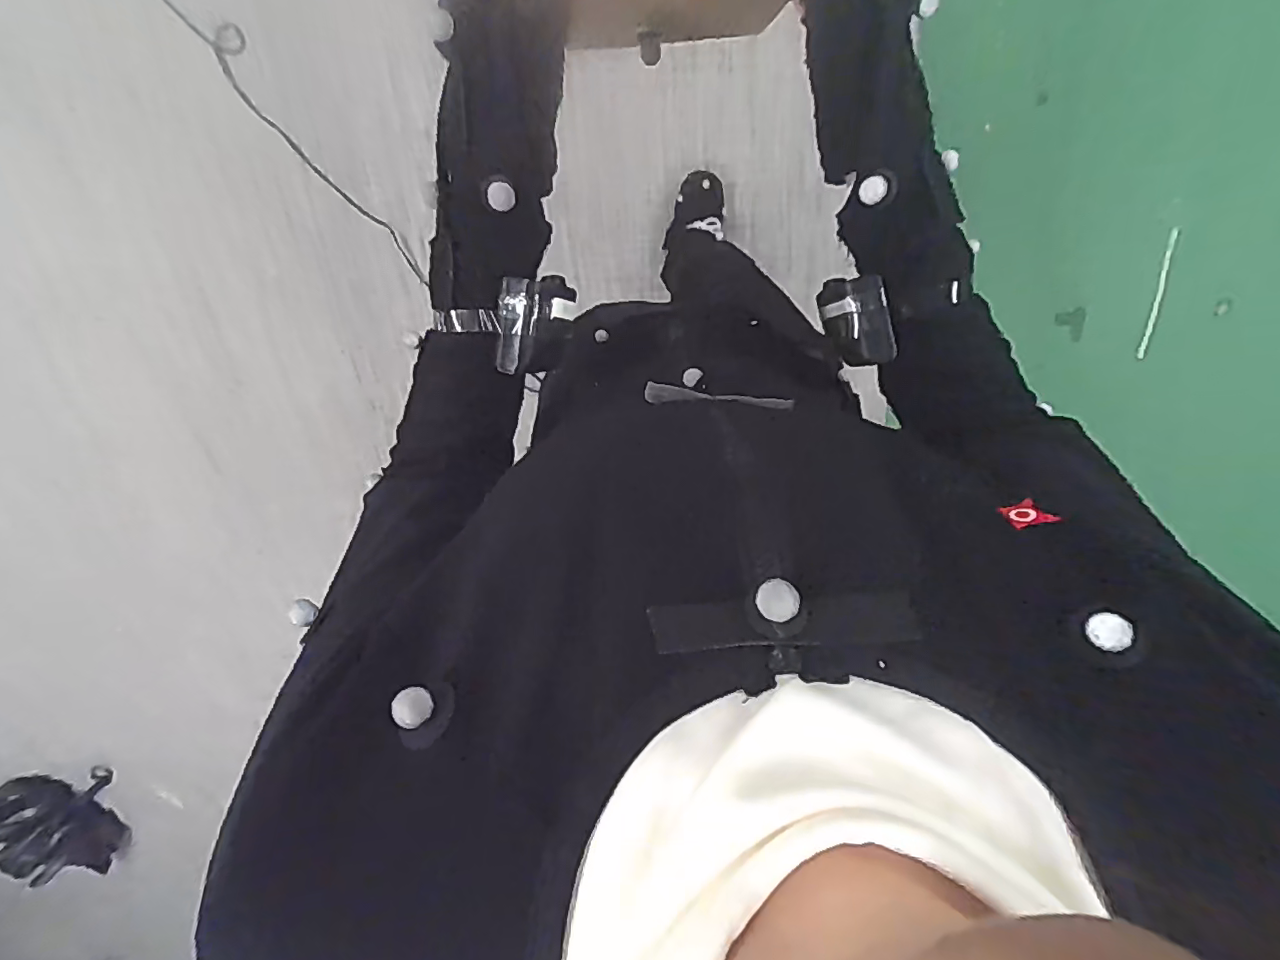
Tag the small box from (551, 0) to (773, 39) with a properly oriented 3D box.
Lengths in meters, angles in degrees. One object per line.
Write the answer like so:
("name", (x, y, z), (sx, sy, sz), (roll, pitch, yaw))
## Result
("small box", (0.012, -0.394, 0.314), (0.168, 0.176, 0.179), (-5, 117, 0))
